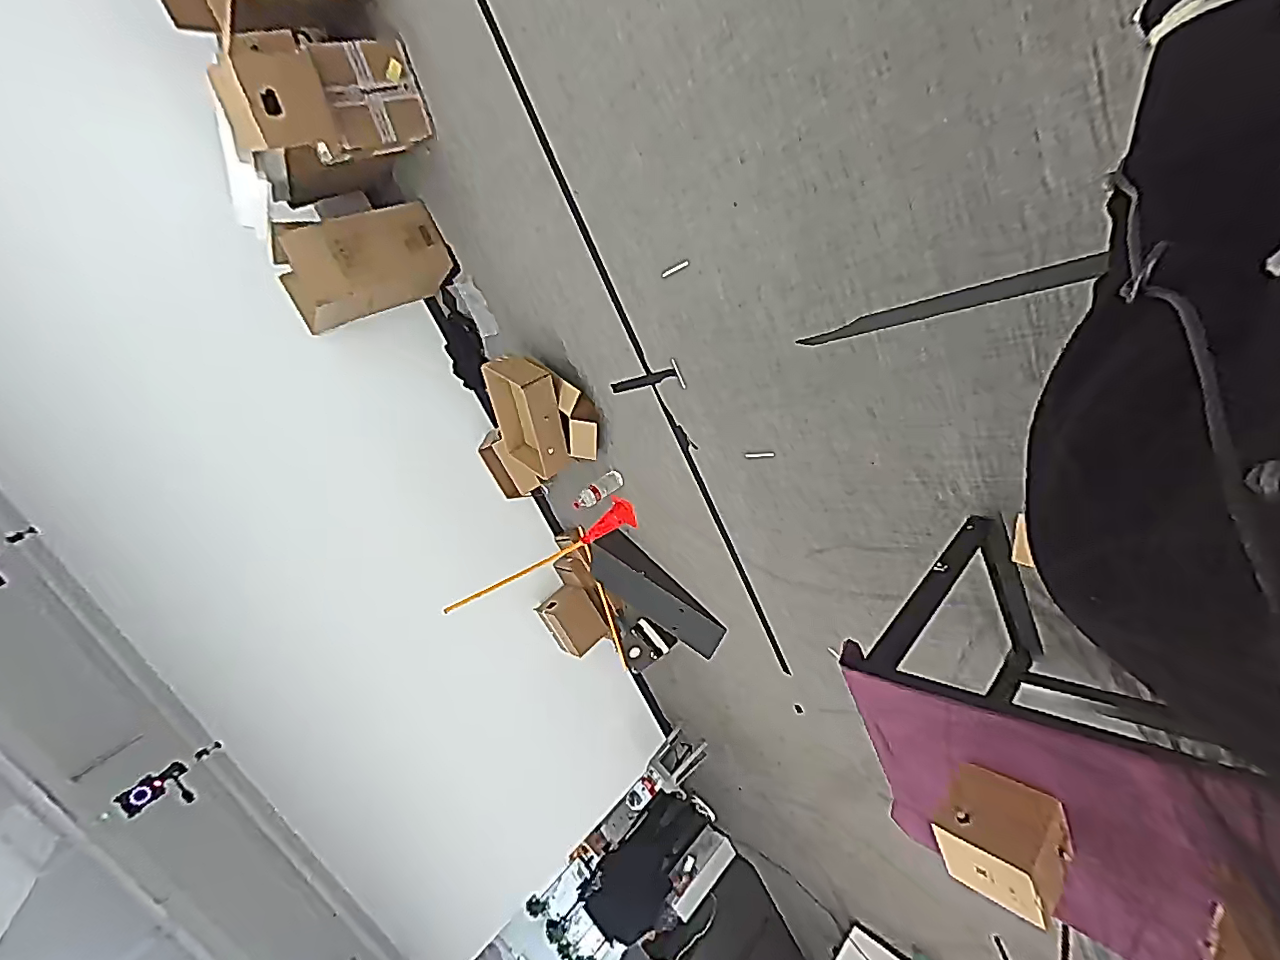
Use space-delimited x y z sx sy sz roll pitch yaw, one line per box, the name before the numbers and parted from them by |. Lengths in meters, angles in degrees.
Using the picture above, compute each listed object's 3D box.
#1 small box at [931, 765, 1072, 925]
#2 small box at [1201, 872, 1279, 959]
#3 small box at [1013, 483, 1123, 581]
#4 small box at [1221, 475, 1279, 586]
small box | 0.723 0.711 1.080 0.179 0.176 0.168 2 122 54
small box | 0.945 0.735 0.785 0.168 0.176 0.179 15 131 48
small box | 1.110 0.126 1.407 0.179 0.176 0.168 19 135 44
small box | 1.313 0.101 1.087 0.179 0.176 0.168 6 125 53
